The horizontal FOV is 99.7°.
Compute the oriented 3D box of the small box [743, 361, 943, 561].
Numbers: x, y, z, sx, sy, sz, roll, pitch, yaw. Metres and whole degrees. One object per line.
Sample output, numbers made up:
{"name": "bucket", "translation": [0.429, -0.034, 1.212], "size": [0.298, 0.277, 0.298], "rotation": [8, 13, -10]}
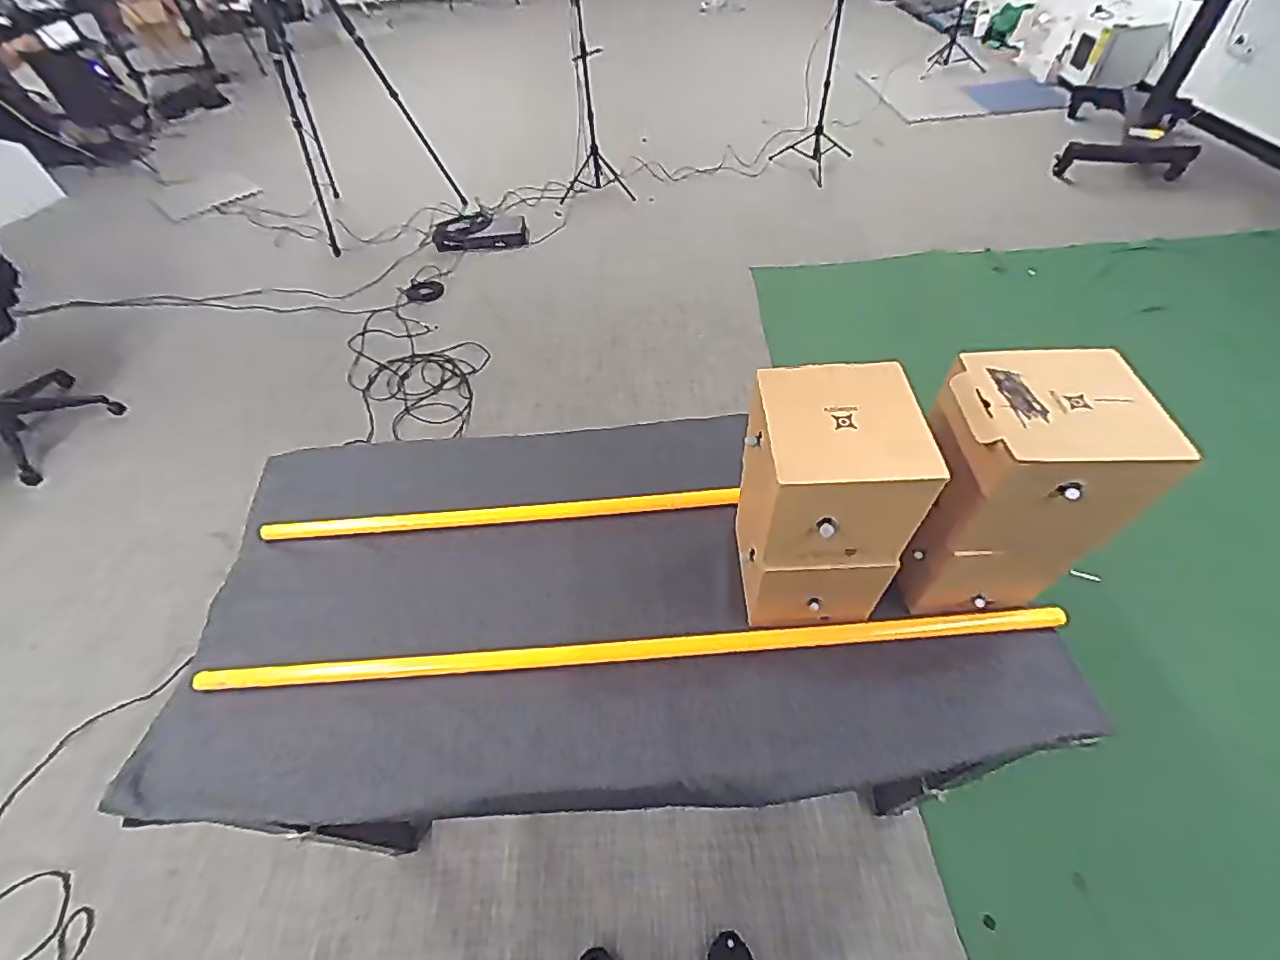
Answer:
{"name": "small box", "translation": [0.217, -0.015, 0.634], "size": [0.168, 0.176, 0.179], "rotation": [-3, 51, 3]}

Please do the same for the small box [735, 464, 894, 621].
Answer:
{"name": "small box", "translation": [0.228, 0.089, 0.759], "size": [0.168, 0.176, 0.179], "rotation": [-3, 51, 2]}

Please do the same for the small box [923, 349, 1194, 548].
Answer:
{"name": "small box", "translation": [0.446, -0.032, 0.627], "size": [0.179, 0.176, 0.168], "rotation": [0, 52, 3]}
